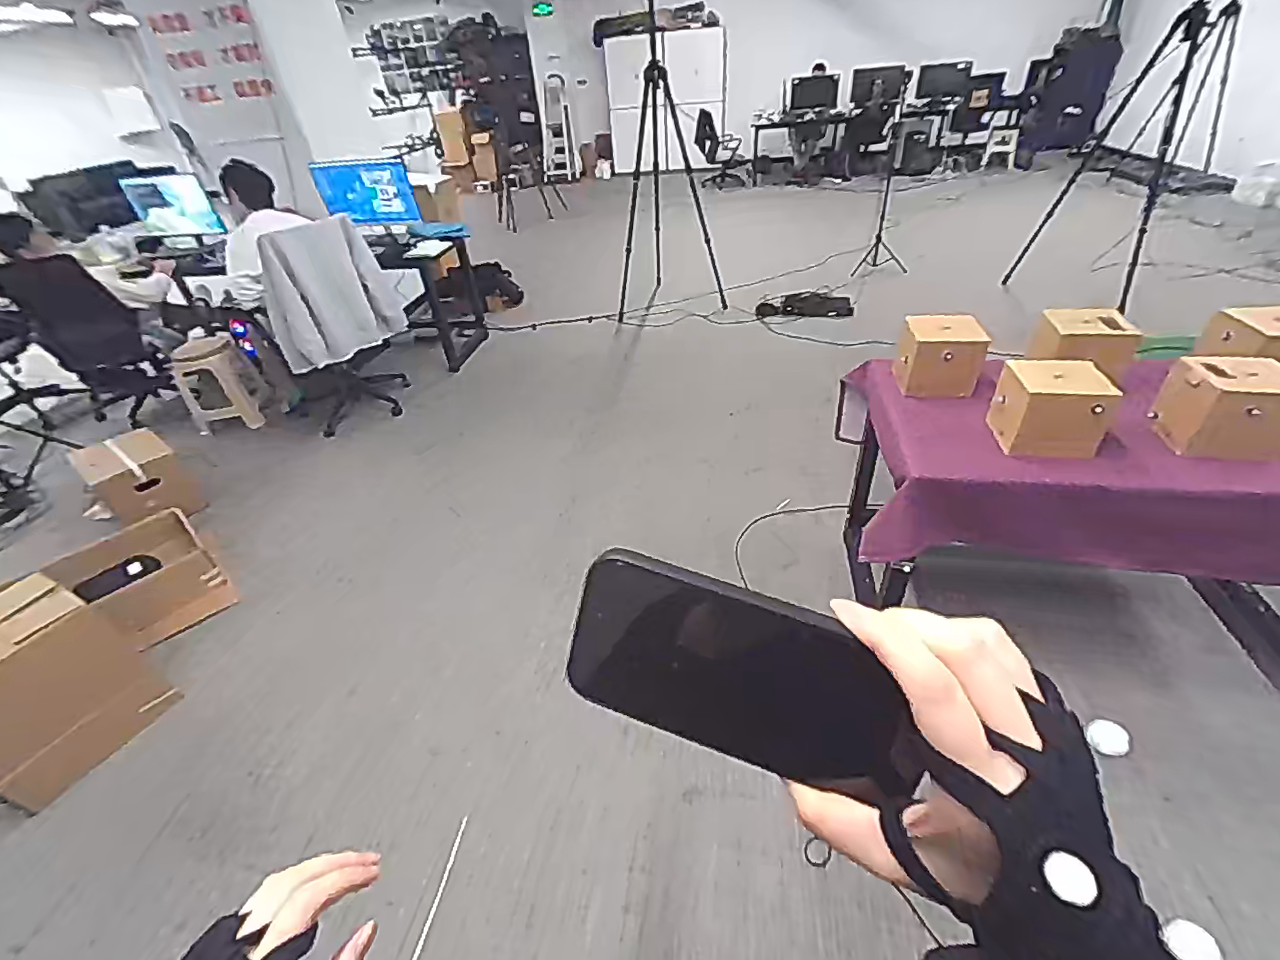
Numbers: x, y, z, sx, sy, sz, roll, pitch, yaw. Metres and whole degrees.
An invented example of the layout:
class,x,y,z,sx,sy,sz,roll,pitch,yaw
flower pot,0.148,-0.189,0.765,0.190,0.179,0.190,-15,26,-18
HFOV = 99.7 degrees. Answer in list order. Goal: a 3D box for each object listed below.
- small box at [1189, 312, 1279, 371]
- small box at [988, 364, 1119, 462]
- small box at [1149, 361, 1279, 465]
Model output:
class,x,y,z,sx,sy,sz,roll,pitch,yaw
small box,1.555,-0.312,1.366,0.168,0.176,0.179,1,38,9
small box,0.932,-0.154,1.245,0.179,0.176,0.168,4,38,11
small box,1.281,-0.148,1.190,0.179,0.176,0.168,5,39,13
